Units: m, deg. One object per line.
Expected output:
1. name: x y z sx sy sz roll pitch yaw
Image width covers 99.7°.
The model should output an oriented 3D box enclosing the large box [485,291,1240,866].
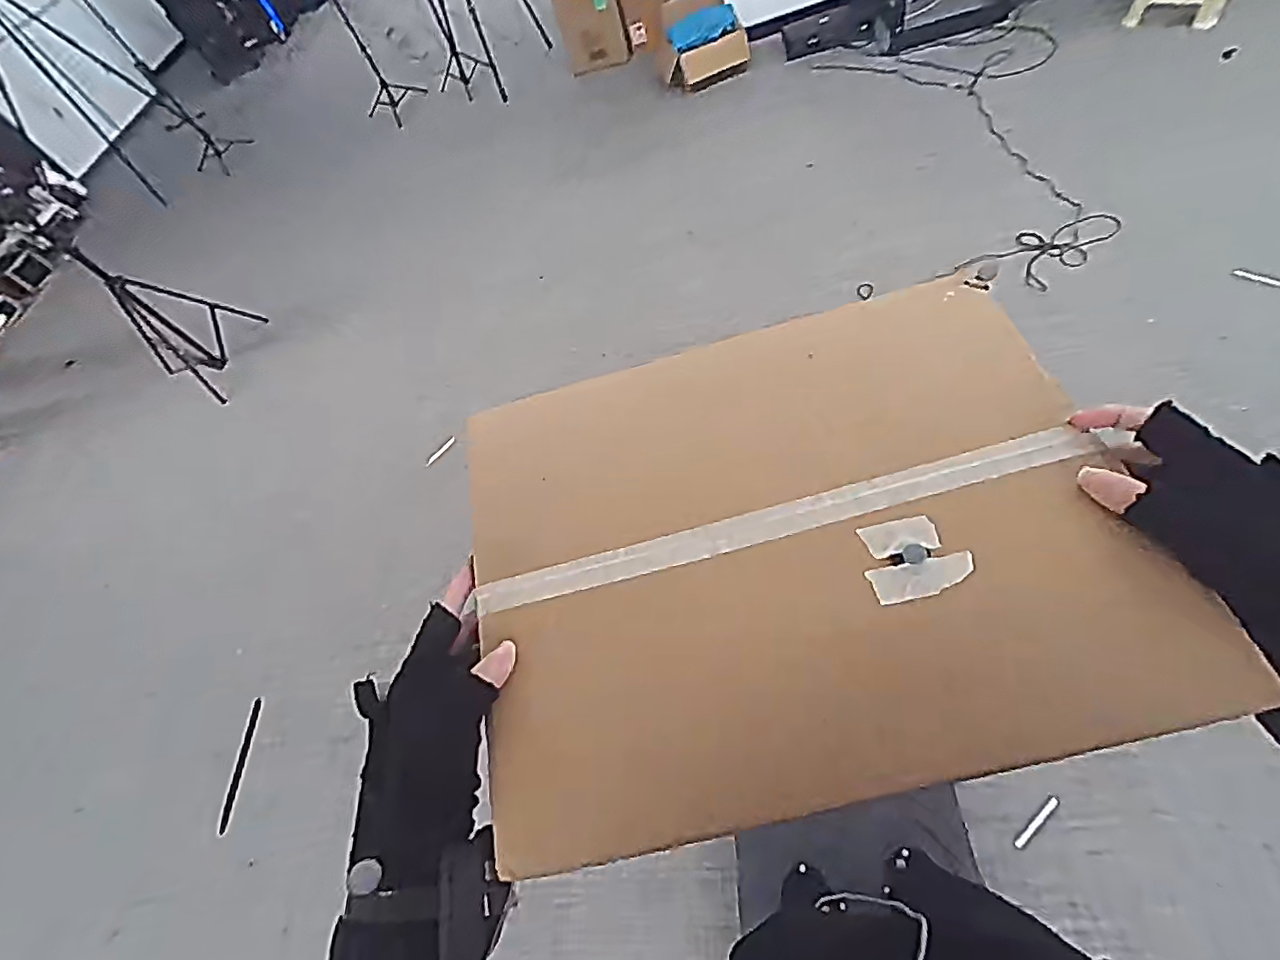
1. large box: 0.118 0.100 0.492 0.408 0.320 0.320 -15 62 3
